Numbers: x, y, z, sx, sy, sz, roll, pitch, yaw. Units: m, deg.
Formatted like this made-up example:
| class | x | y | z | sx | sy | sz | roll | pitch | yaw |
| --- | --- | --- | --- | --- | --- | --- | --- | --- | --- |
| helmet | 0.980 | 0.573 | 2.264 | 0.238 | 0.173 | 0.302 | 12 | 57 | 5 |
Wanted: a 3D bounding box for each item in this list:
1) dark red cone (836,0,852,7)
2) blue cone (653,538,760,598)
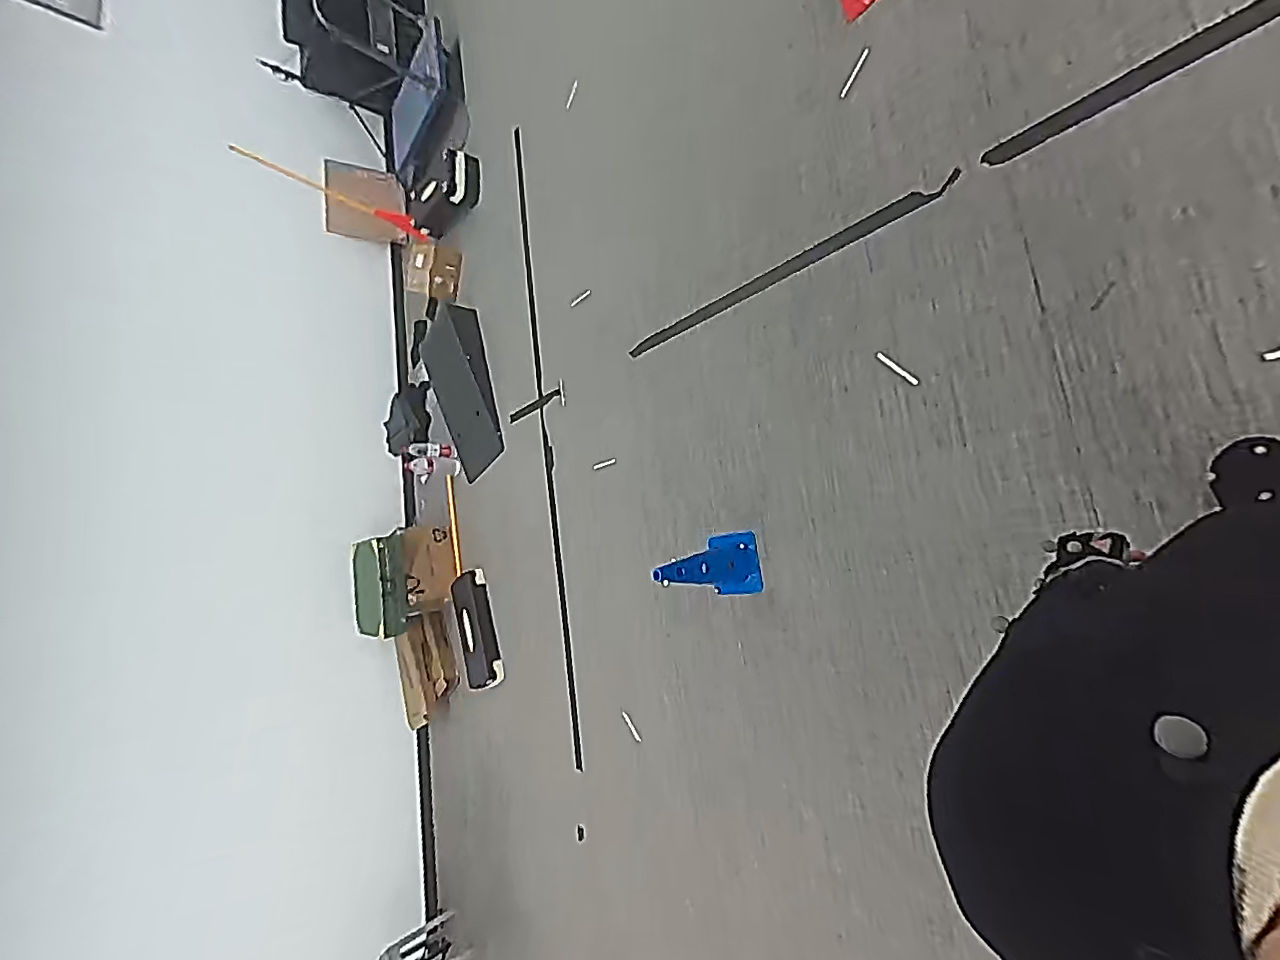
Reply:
| class | x | y | z | sx | sy | sz | roll | pitch | yaw |
| --- | --- | --- | --- | --- | --- | --- | --- | --- | --- |
| dark red cone | 0.473 | -1.408 | 1.328 | 0.202 | 0.394 | 0.201 | -27 | 71 | 46 |
| blue cone | 0.187 | 0.294 | 1.676 | 0.193 | 0.380 | 0.192 | -15 | 79 | 48 |
